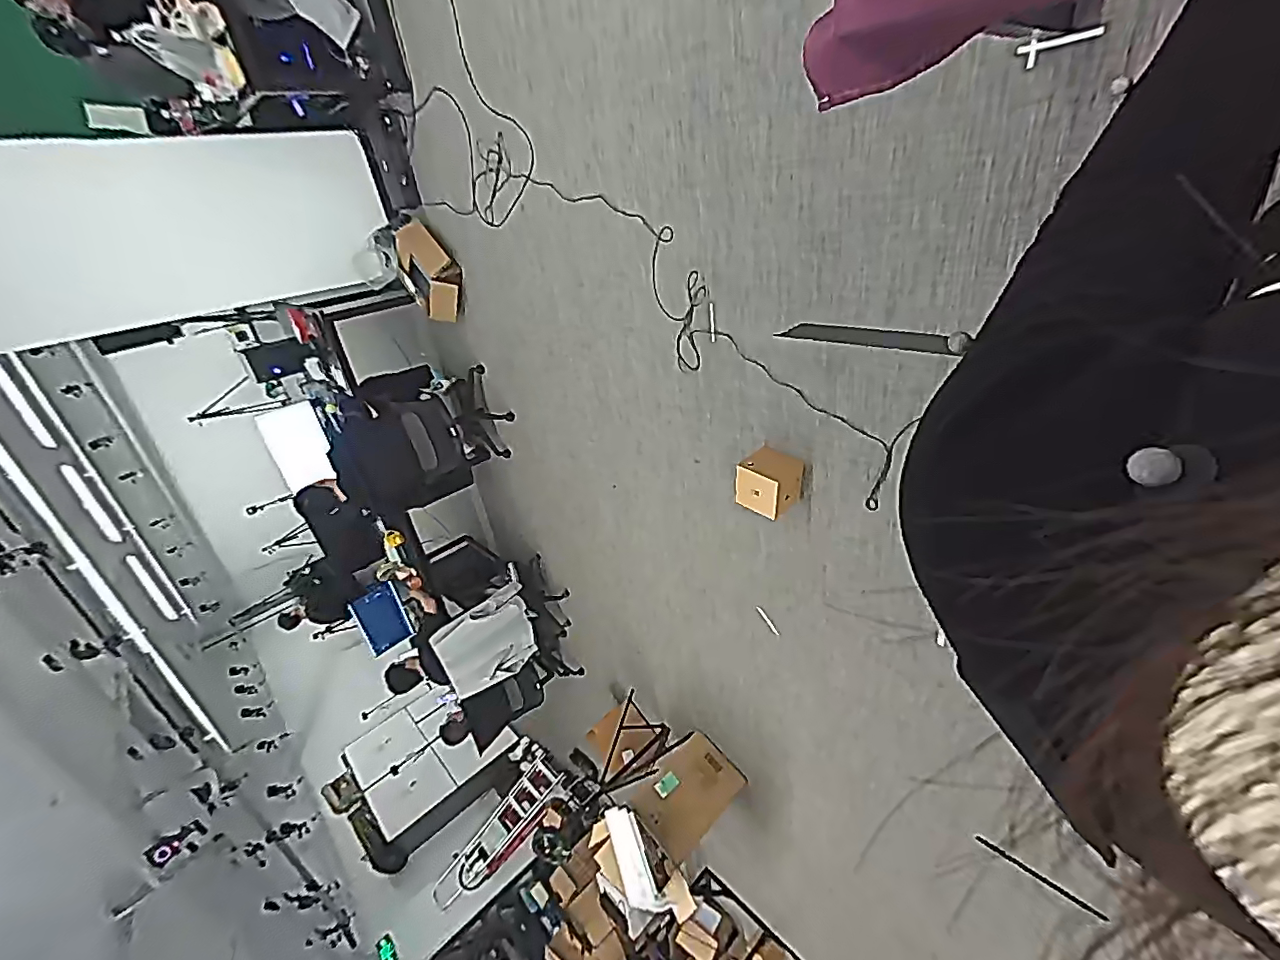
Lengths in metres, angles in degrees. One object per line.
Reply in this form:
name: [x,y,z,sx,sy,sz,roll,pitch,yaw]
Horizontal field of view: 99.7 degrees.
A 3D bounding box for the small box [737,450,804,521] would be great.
small box: [0.469,0.012,1.942,0.179,0.176,0.168,28,135,39]
